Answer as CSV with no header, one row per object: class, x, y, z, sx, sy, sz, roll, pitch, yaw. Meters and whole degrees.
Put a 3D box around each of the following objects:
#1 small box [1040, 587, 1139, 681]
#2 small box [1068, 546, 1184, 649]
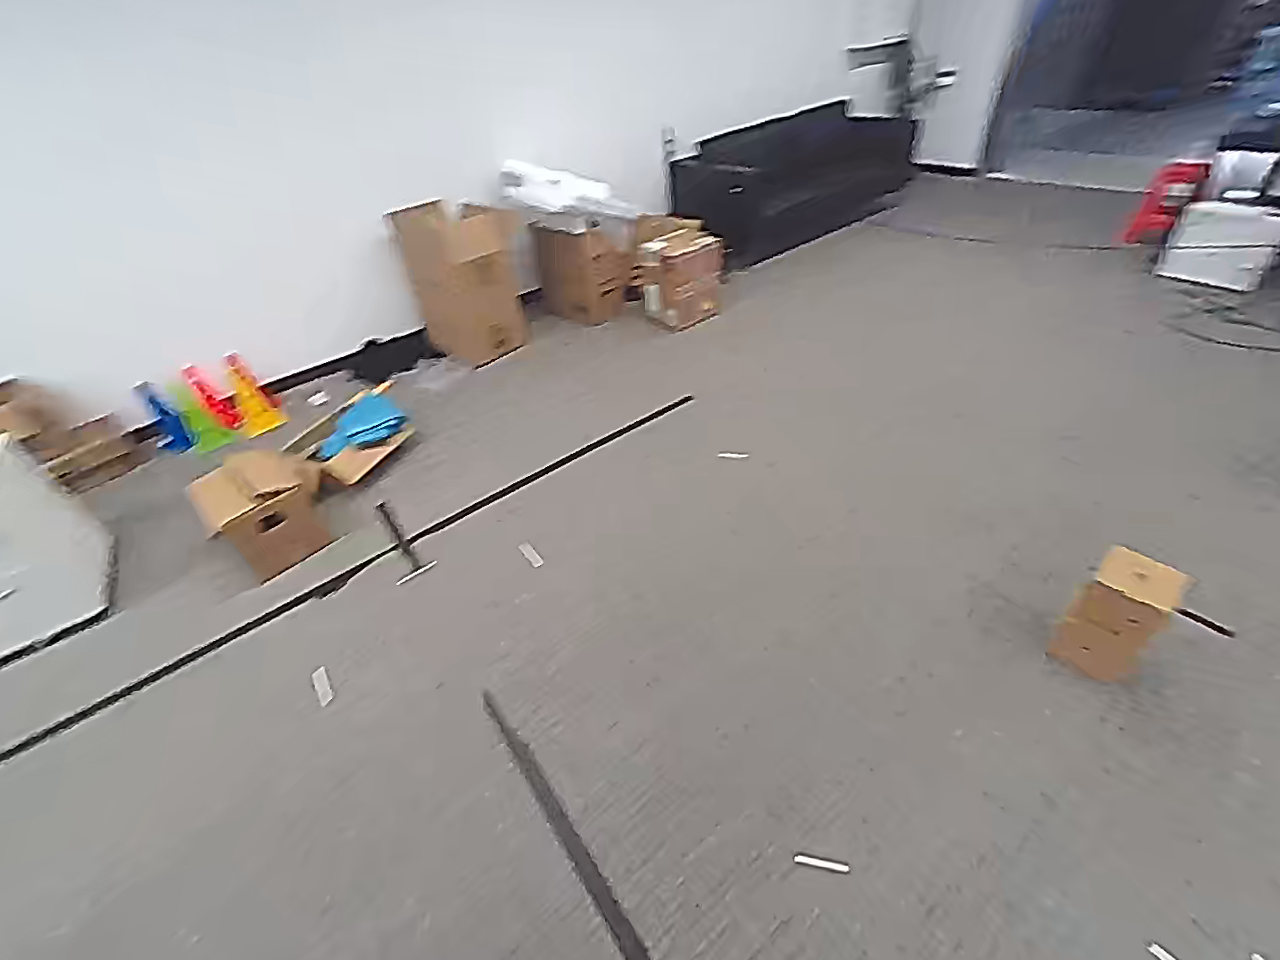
small box,1.308,0.450,1.564,0.179,0.176,0.168,28,50,36
small box,1.306,0.321,1.465,0.179,0.176,0.168,-33,47,-29
